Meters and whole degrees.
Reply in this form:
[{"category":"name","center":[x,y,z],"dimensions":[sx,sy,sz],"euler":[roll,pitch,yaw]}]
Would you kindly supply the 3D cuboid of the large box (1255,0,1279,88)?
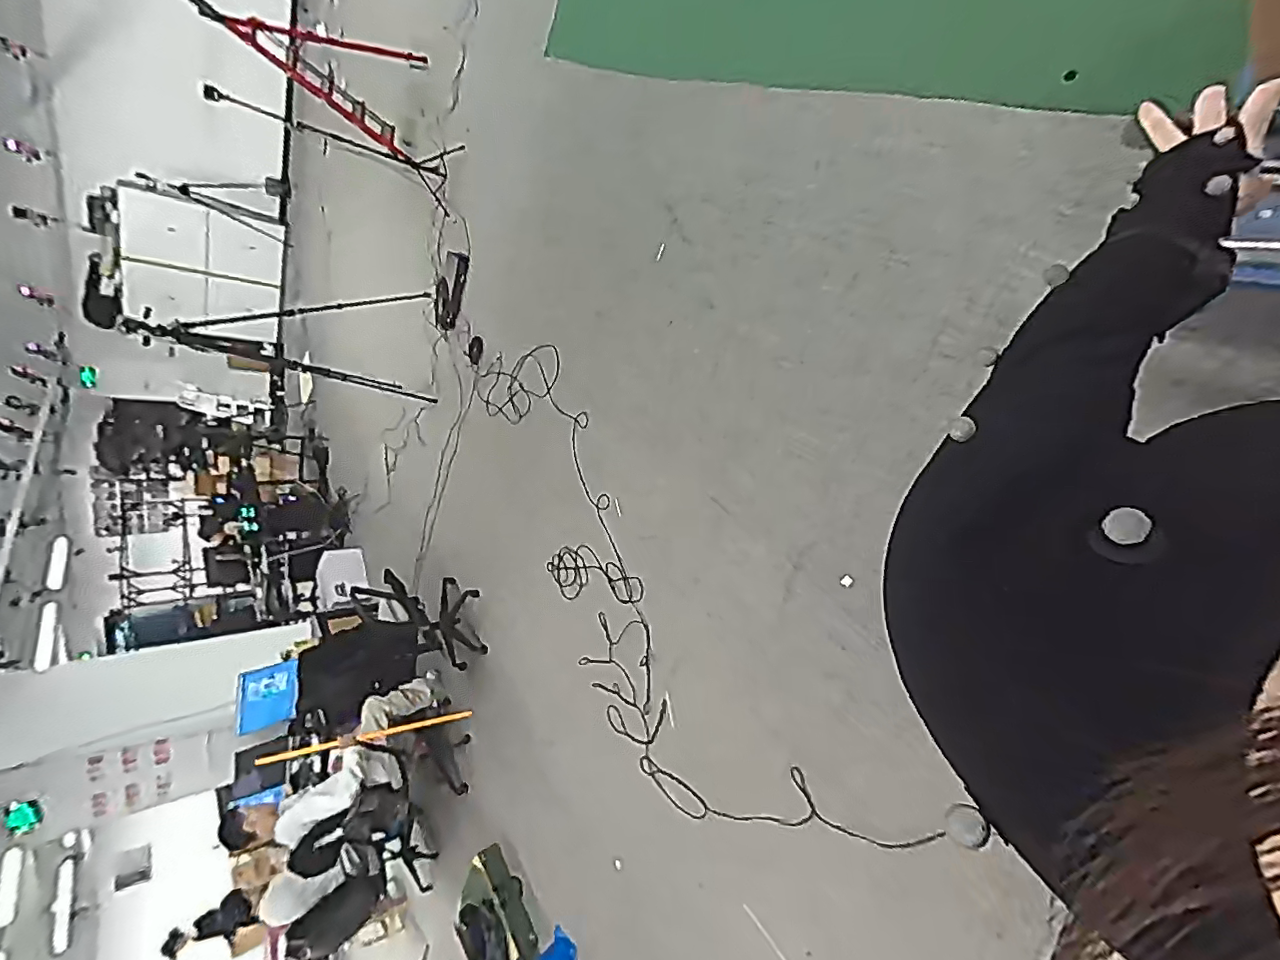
[{"category":"large box","center":[1.083,-0.723,0.633],"dimensions":[0.408,0.320,0.320],"euler":[31,114,43]}]
